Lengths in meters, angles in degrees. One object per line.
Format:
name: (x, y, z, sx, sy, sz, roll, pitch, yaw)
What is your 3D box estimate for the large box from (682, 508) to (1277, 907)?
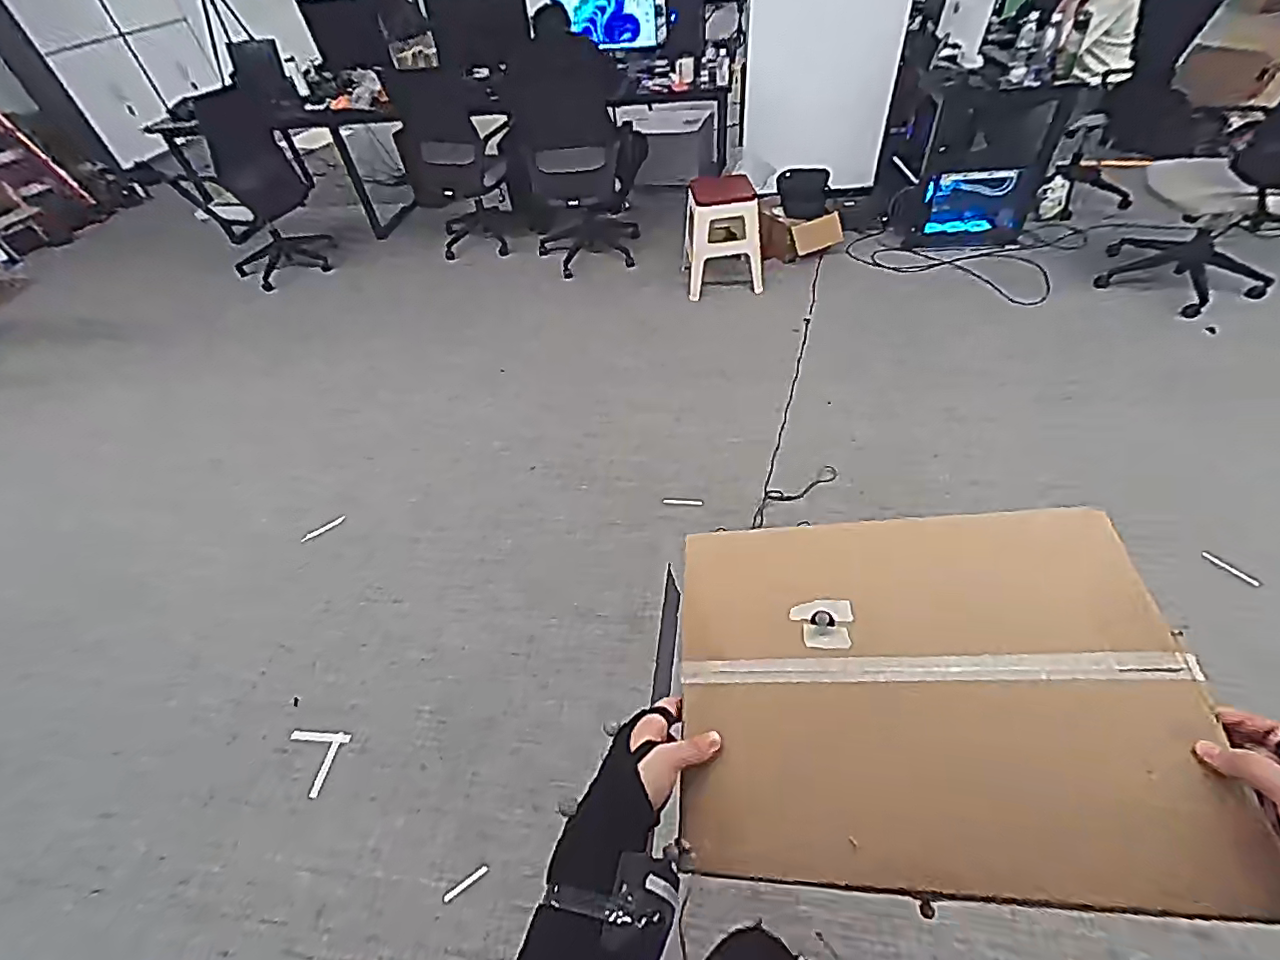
large box: (0.276, 0.260, 0.599, 0.408, 0.320, 0.320, -7, 51, 15)
